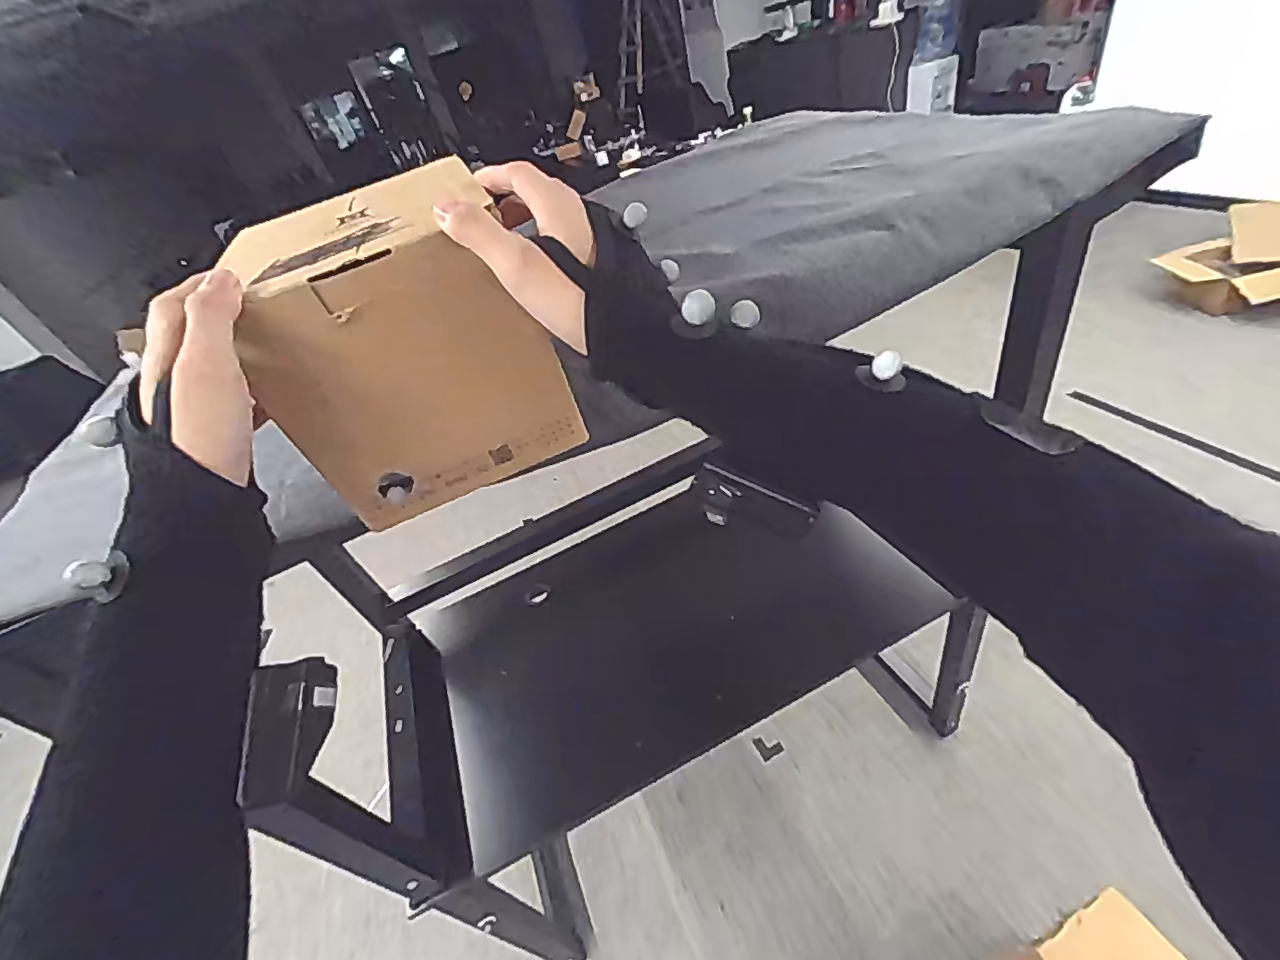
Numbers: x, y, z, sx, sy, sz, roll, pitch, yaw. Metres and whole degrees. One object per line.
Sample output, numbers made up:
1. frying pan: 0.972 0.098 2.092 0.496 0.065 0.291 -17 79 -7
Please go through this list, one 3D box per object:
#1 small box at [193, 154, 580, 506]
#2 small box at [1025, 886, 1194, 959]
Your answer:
1. small box: -0.160 -0.103 0.391 0.168 0.176 0.179 -25 43 -7
2. small box: 0.729 0.768 0.814 0.168 0.176 0.179 -29 40 -11
